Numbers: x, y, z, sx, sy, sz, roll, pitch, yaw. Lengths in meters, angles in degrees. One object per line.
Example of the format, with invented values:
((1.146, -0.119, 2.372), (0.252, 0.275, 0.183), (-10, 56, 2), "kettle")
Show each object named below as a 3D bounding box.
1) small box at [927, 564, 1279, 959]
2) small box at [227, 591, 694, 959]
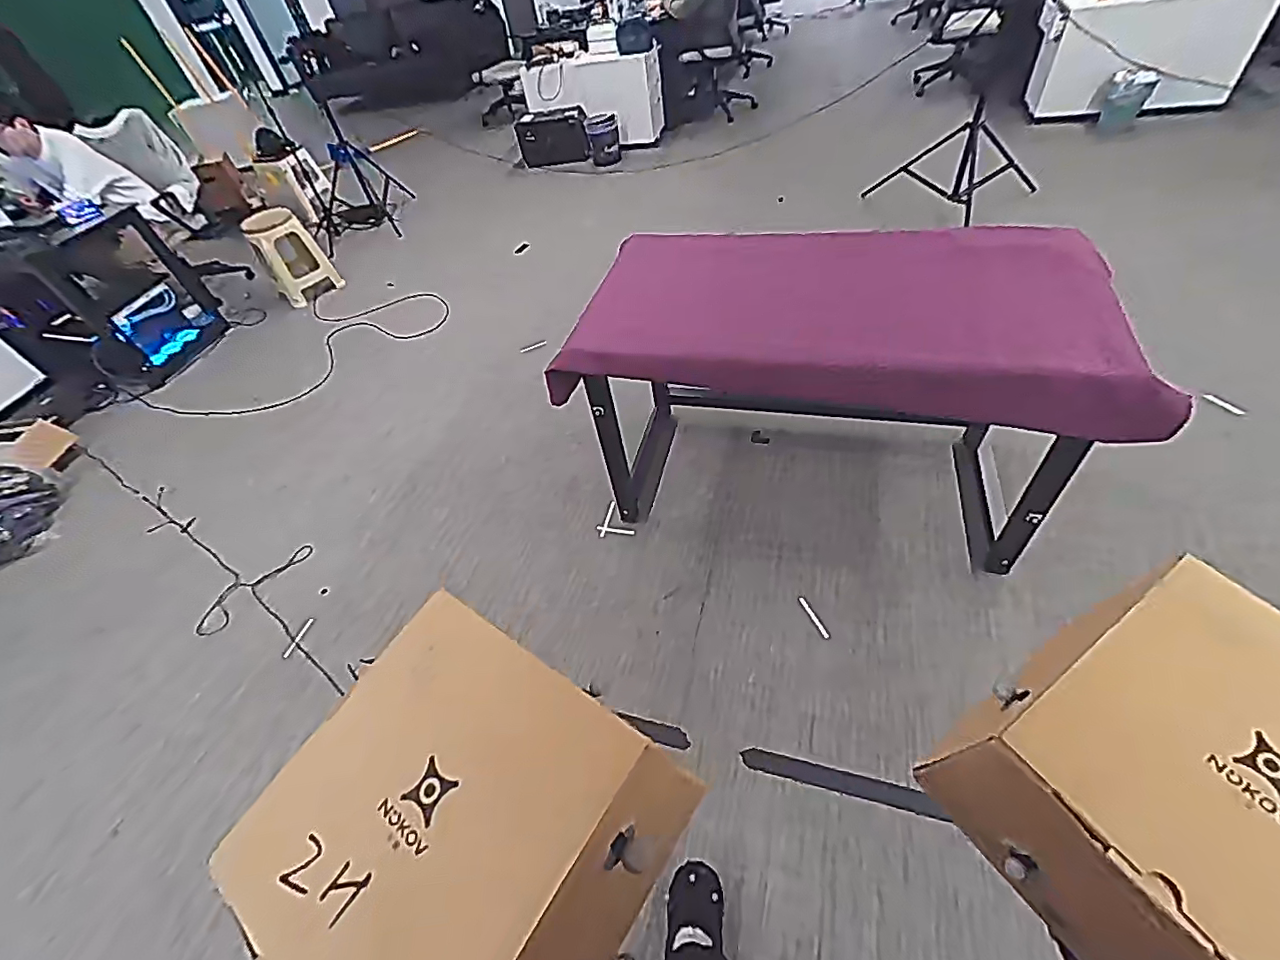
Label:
((0.317, 0.190, 0.335), (0.179, 0.176, 0.168), (-34, 58, -13), "small box")
((-0.082, 0.205, 0.330), (0.168, 0.176, 0.179), (23, 65, 31), "small box")
